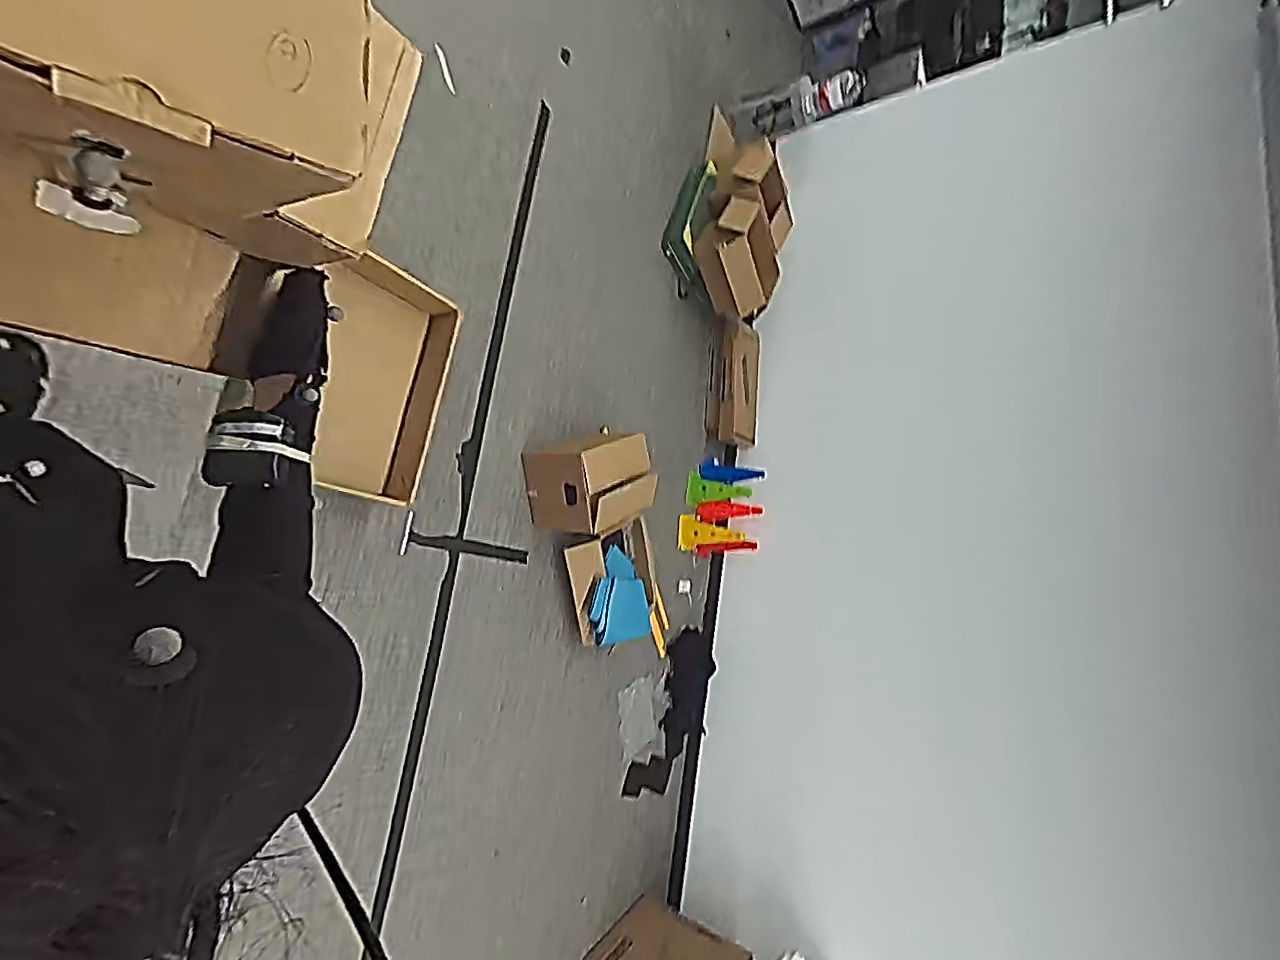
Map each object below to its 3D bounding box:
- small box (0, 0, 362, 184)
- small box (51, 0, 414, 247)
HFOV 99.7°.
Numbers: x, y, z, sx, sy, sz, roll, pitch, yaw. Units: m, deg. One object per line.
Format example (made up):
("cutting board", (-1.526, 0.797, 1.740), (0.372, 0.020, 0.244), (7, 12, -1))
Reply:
("small box", (-0.241, -0.252, 0.235), (0.168, 0.176, 0.179), (-6, 106, -52))
("small box", (-0.308, -0.298, 0.407), (0.168, 0.176, 0.179), (19, 84, -54))
